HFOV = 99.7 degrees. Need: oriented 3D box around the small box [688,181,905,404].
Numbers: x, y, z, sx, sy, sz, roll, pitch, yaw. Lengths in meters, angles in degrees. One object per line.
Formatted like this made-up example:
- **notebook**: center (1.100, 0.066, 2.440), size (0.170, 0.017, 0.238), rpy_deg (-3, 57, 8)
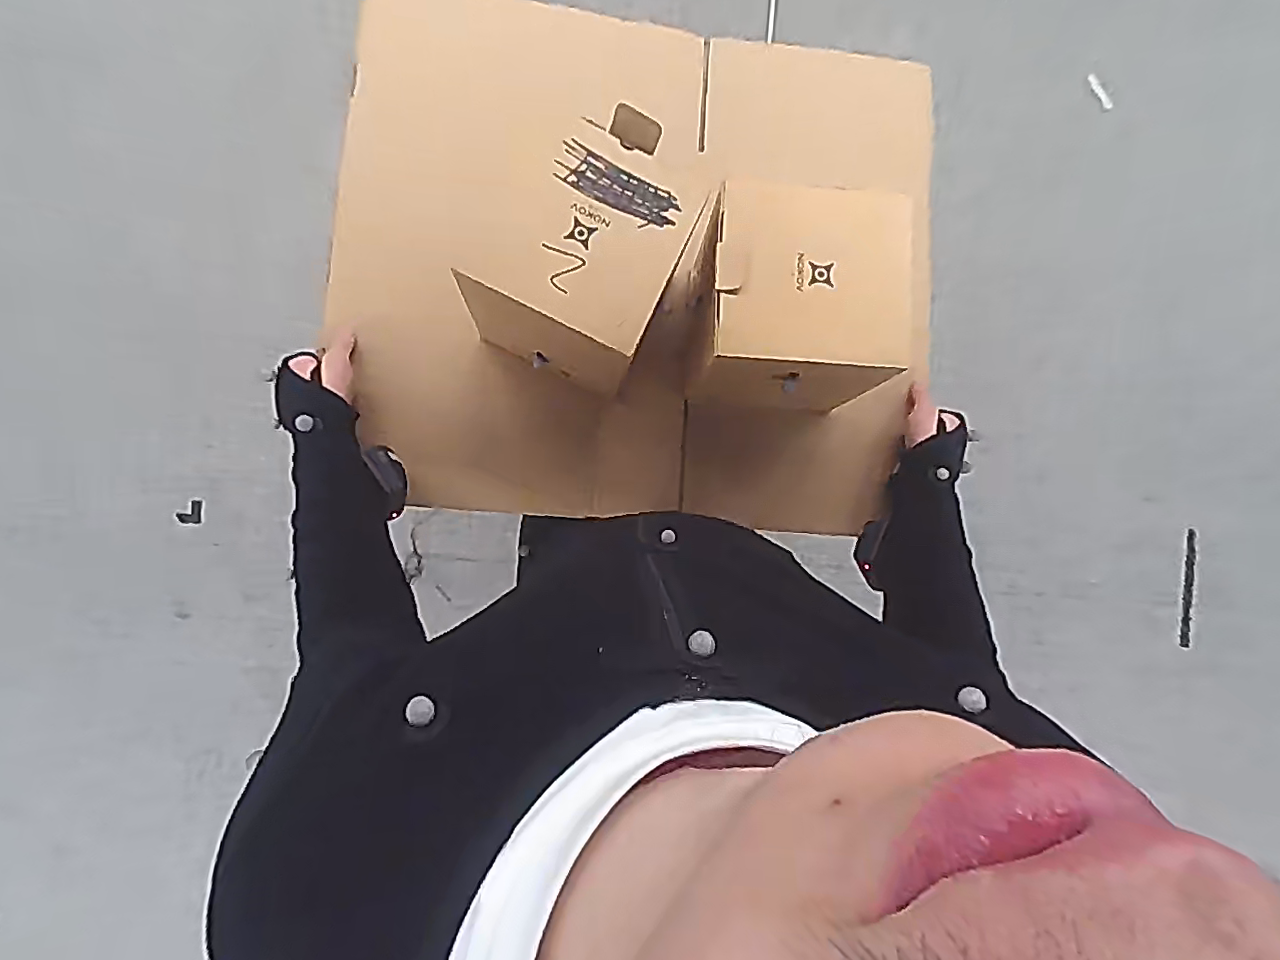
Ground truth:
- **small box**: center (0.153, -0.181, 0.574), size (0.179, 0.176, 0.168), rpy_deg (3, 84, -3)
